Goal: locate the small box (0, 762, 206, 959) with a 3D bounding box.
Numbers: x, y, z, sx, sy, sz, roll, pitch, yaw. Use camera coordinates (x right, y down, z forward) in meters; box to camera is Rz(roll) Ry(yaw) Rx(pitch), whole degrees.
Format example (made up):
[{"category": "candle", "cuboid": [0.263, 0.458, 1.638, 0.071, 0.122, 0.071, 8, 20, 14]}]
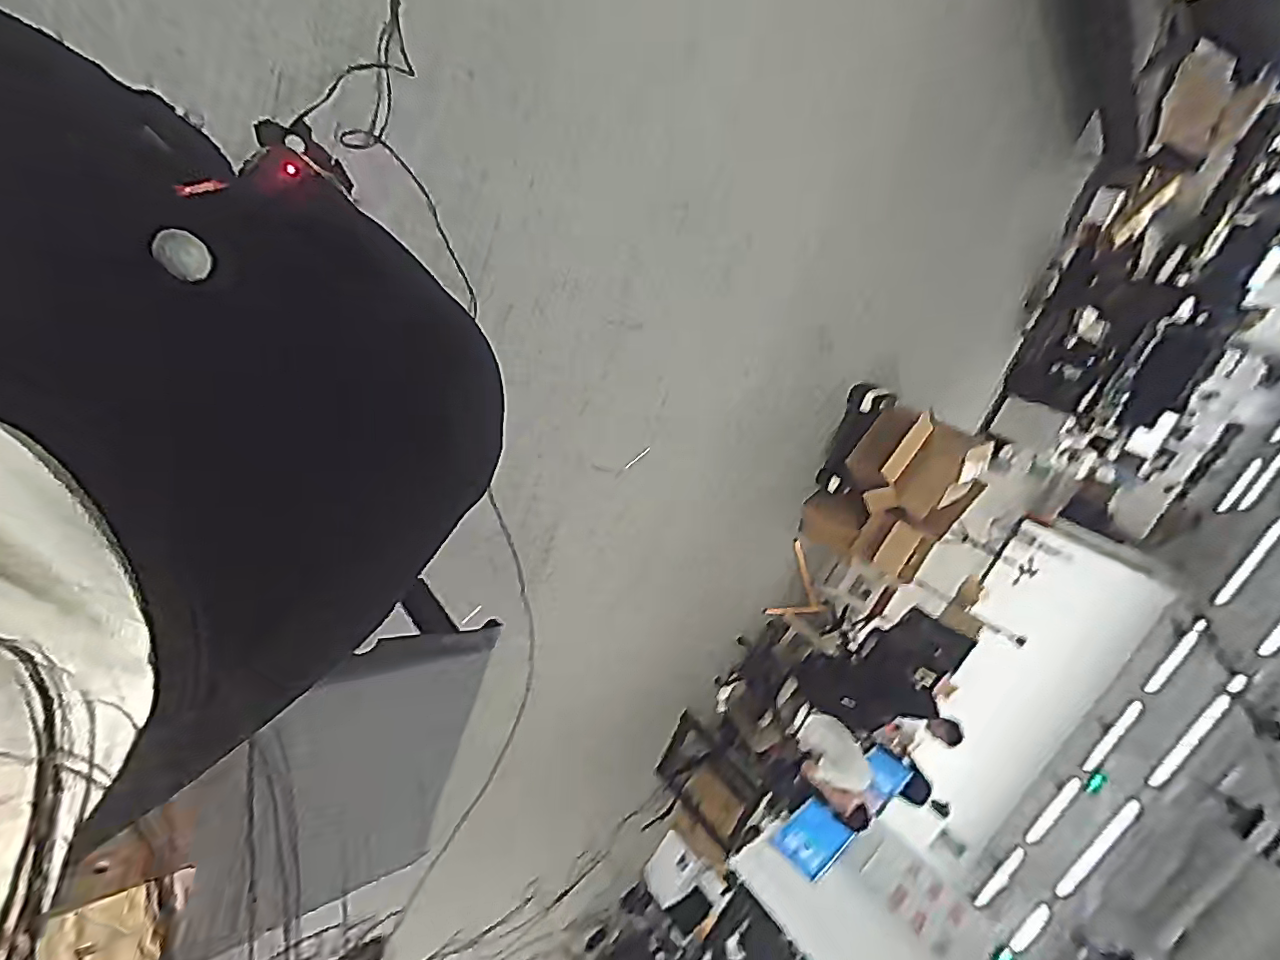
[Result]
[{"category": "small box", "cuboid": [-0.675, 0.494, 0.677, 0.179, 0.176, 0.168, 4, 114, -47]}]
